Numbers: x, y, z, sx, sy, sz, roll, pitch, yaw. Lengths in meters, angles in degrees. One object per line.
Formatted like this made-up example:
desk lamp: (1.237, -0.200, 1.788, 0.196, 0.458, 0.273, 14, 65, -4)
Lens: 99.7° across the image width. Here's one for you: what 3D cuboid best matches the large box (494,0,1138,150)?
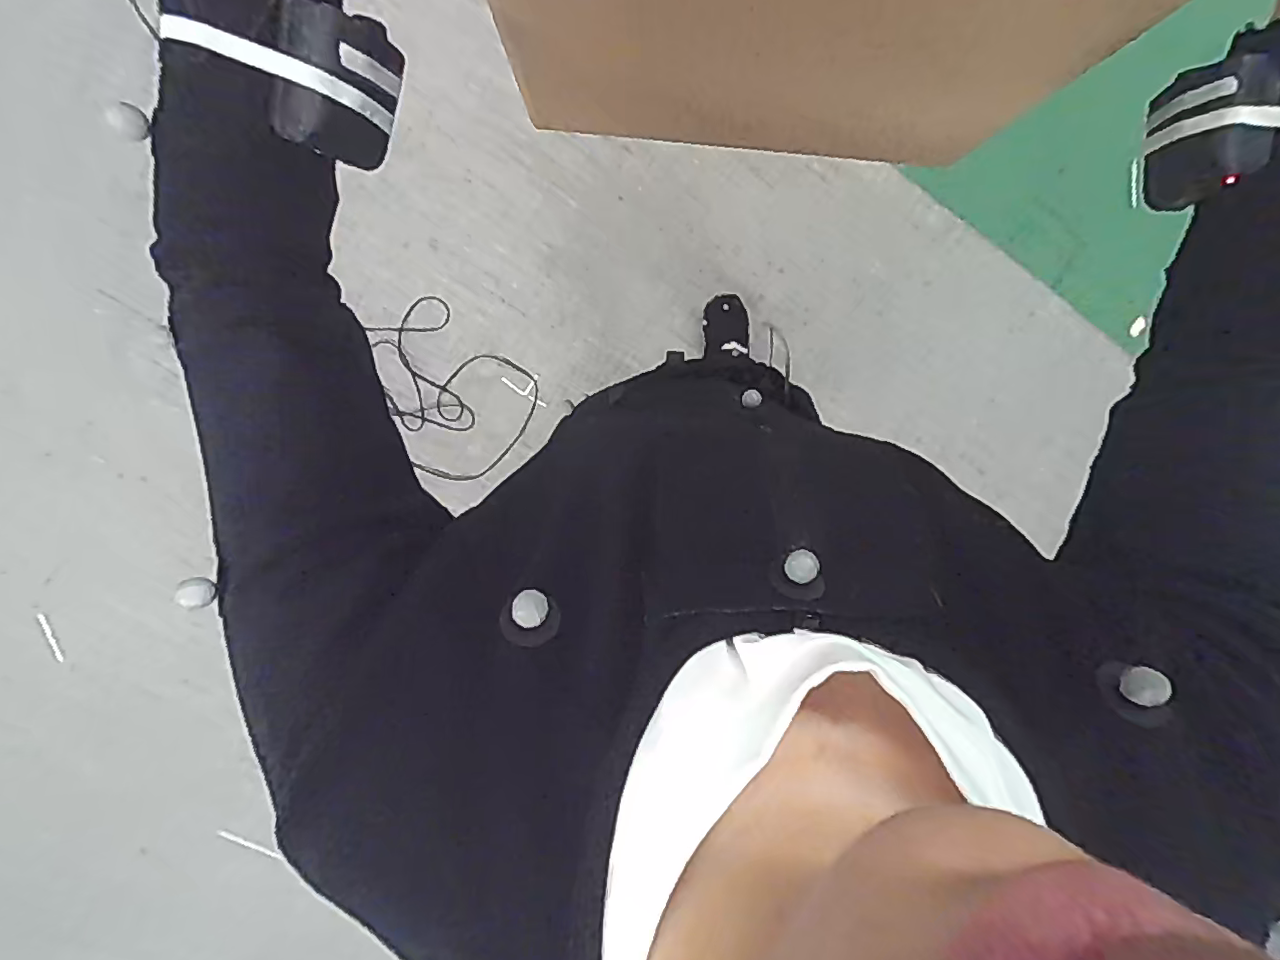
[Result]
large box: (0.107, -0.448, 0.345, 0.408, 0.320, 0.320, 3, 100, -3)
